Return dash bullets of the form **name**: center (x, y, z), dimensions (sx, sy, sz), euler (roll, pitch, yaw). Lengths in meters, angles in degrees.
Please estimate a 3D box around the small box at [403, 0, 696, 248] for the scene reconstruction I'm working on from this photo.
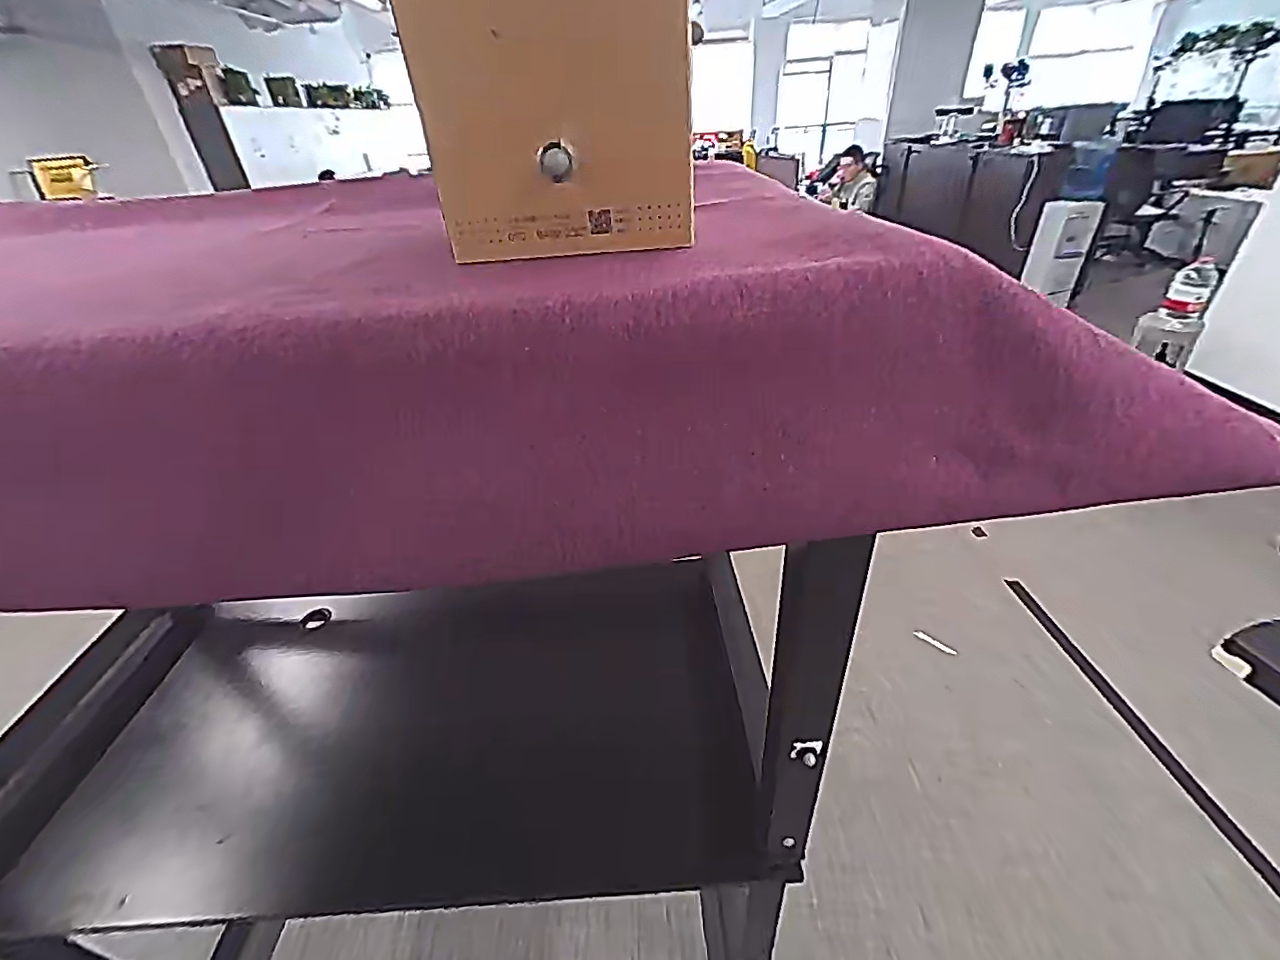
- **small box**: center (-0.047, -0.268, 0.381), dimensions (0.168, 0.176, 0.179), euler (-3, 34, 4)
